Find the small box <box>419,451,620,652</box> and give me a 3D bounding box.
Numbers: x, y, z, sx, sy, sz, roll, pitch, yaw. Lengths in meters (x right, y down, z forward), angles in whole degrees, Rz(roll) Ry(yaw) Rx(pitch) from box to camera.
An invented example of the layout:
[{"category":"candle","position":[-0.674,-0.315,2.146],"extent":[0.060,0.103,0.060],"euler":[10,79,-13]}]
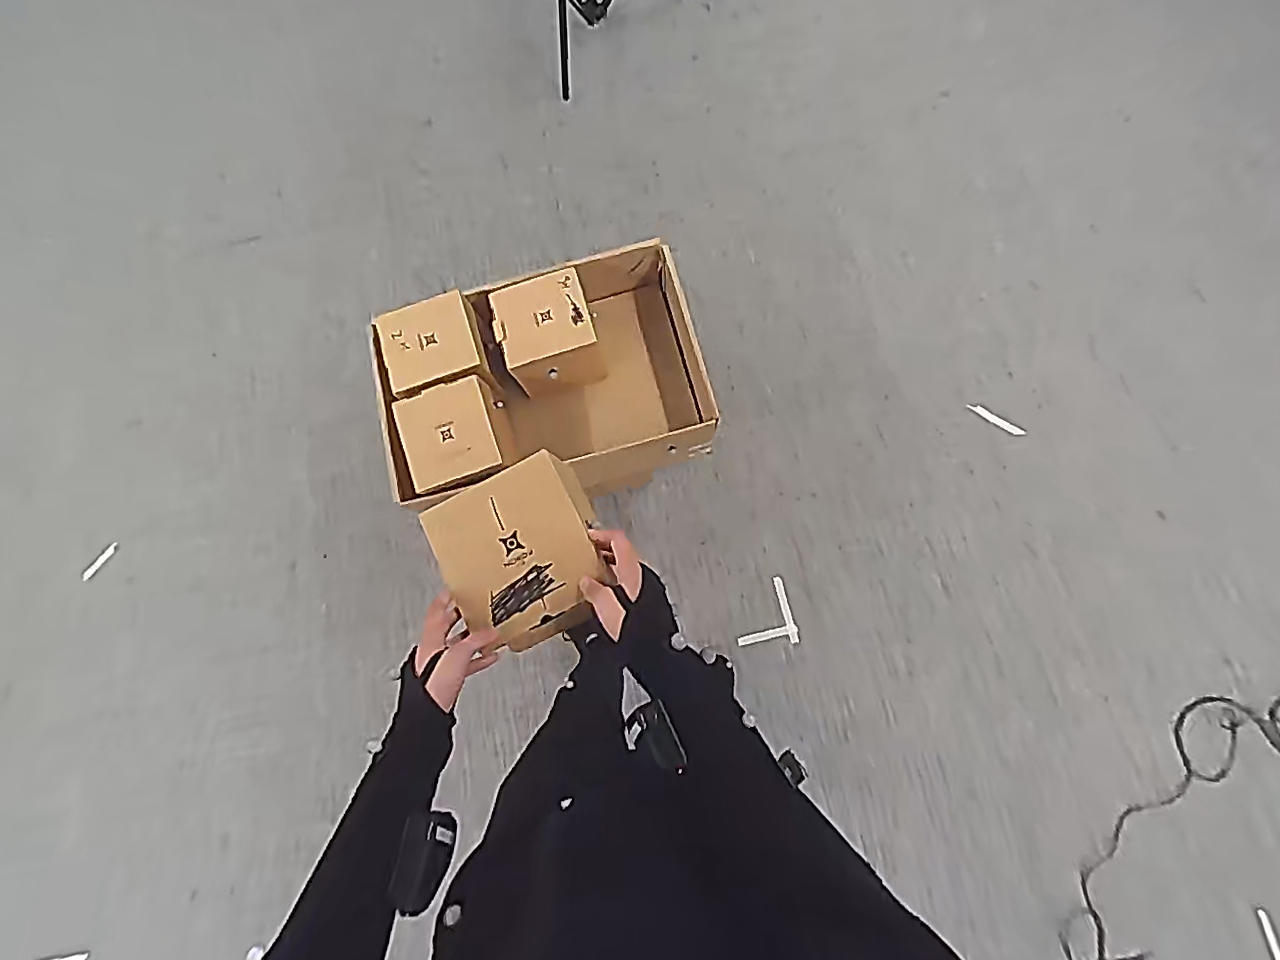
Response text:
[{"category":"small box","position":[-0.136,0.086,0.679],"extent":[0.168,0.176,0.179],"euler":[-27,82,0]}]
